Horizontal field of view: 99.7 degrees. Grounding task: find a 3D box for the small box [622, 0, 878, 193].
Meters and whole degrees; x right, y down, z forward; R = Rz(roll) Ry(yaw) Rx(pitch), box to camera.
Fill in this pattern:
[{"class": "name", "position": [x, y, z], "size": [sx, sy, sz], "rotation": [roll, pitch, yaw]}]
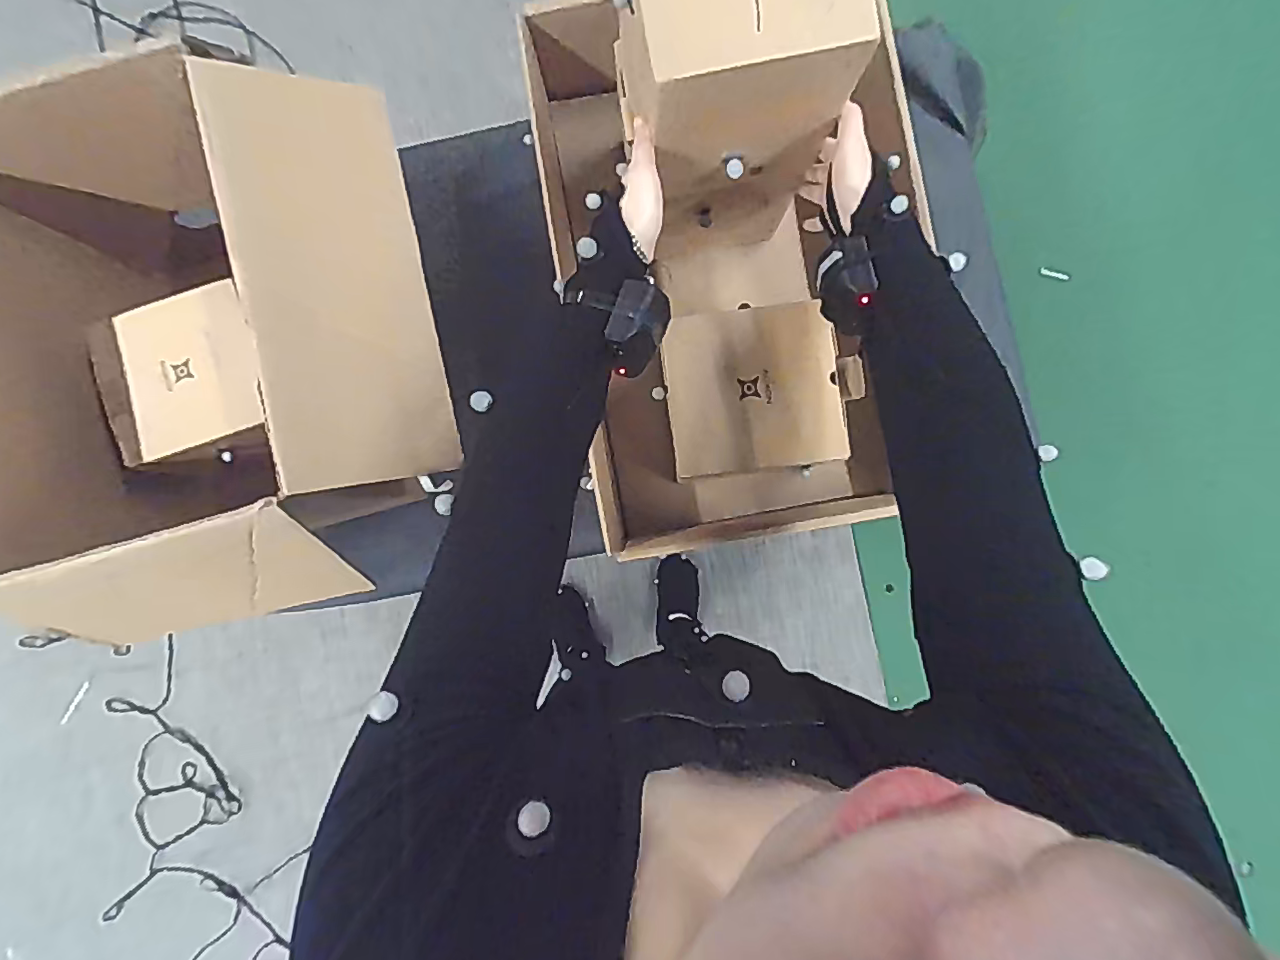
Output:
[{"class": "small box", "position": [0.076, -0.385, 0.465], "size": [0.168, 0.176, 0.179], "rotation": [-10, 92, 1]}]
